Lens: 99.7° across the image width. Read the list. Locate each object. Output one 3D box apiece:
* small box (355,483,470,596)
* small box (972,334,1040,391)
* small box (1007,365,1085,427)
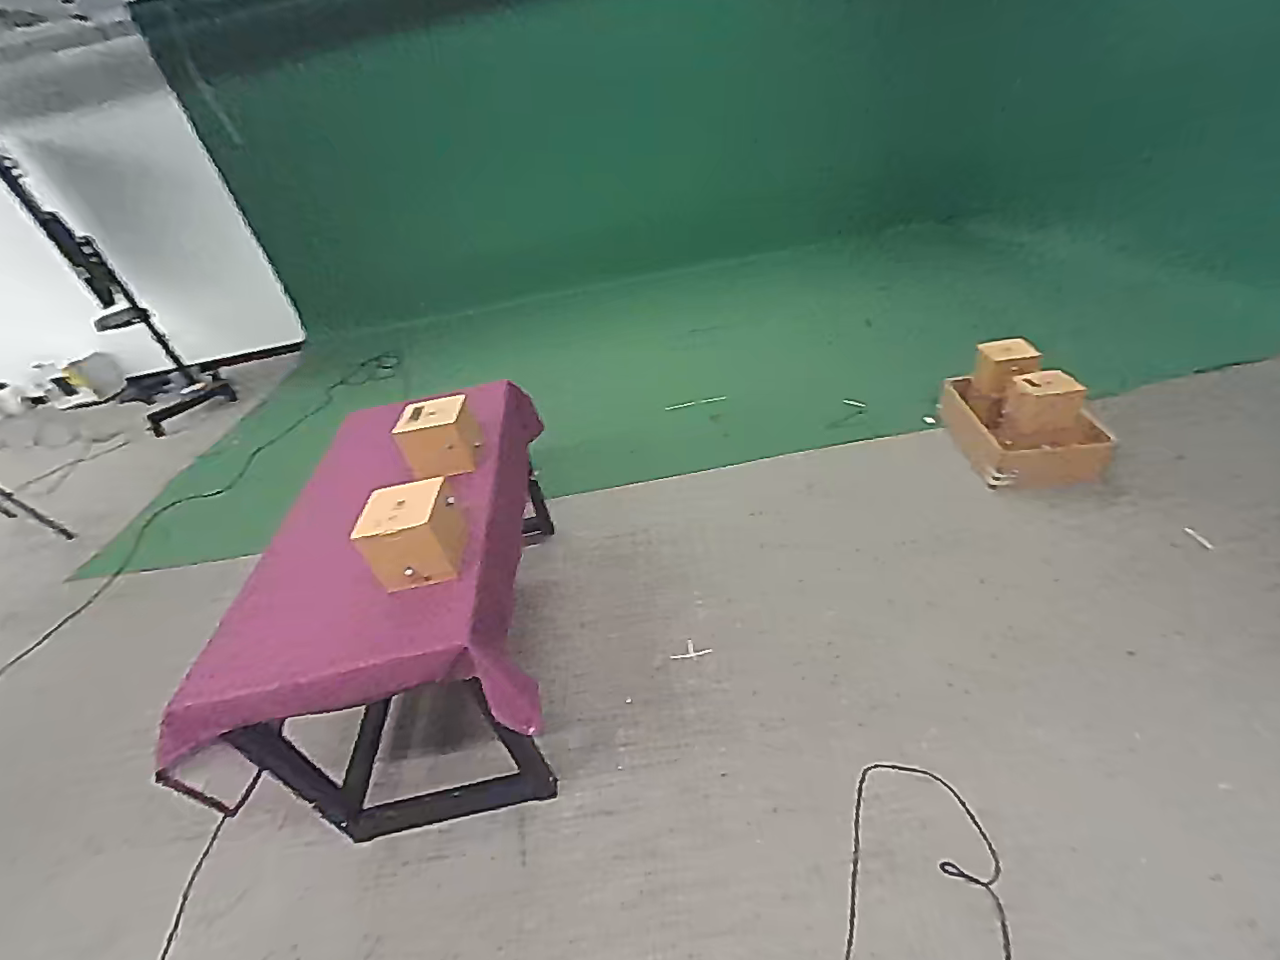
[{"bbox_3d":[-0.504,0.135,1.232,0.168,0.176,0.179,-13,36,3],"label":"small box"},{"bbox_3d":[1.551,-0.497,2.302,0.179,0.176,0.168,-8,37,10],"label":"small box"},{"bbox_3d":[1.532,-0.314,2.056,0.179,0.176,0.168,-8,36,8],"label":"small box"}]
